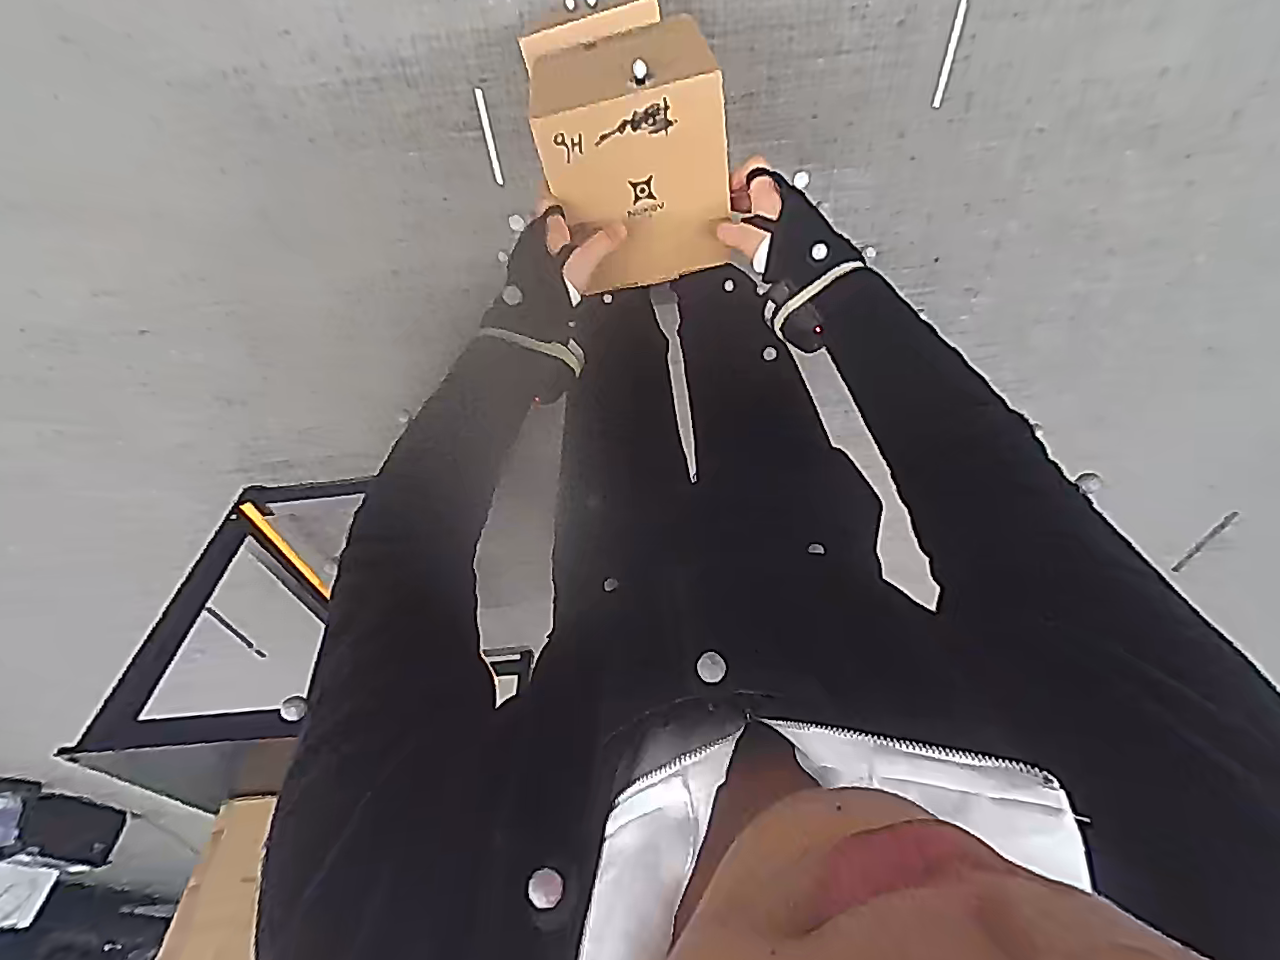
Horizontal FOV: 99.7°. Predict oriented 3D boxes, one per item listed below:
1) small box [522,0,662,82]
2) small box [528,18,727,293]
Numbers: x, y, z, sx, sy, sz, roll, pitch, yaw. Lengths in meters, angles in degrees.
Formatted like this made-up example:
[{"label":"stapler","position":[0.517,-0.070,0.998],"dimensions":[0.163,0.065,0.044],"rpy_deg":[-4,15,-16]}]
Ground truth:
[{"label":"small box","position":[-0.043,-0.515,0.722],"dimensions":[0.168,0.176,0.179],"rpy_deg":[-10,135,9]},{"label":"small box","position":[-0.007,-0.331,0.562],"dimensions":[0.168,0.176,0.179],"rpy_deg":[-11,143,5]}]
